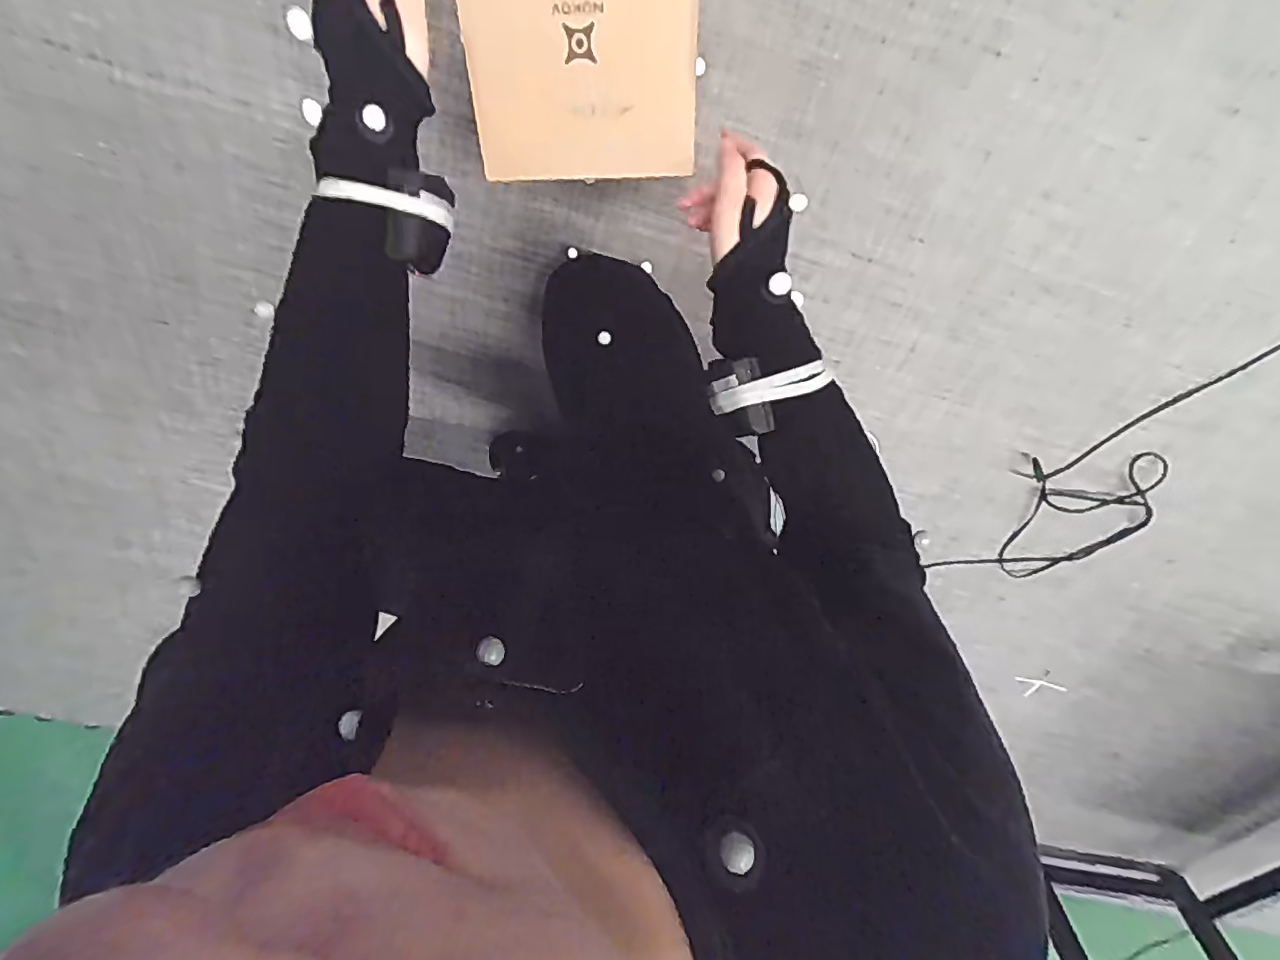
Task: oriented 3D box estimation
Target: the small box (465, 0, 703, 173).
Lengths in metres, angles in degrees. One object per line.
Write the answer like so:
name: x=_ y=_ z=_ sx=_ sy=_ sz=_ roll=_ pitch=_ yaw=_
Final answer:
small box: x=-0.035 y=-0.358 z=0.441 sx=0.168 sy=0.176 sz=0.179 roll=1 pitch=126 yaw=4
